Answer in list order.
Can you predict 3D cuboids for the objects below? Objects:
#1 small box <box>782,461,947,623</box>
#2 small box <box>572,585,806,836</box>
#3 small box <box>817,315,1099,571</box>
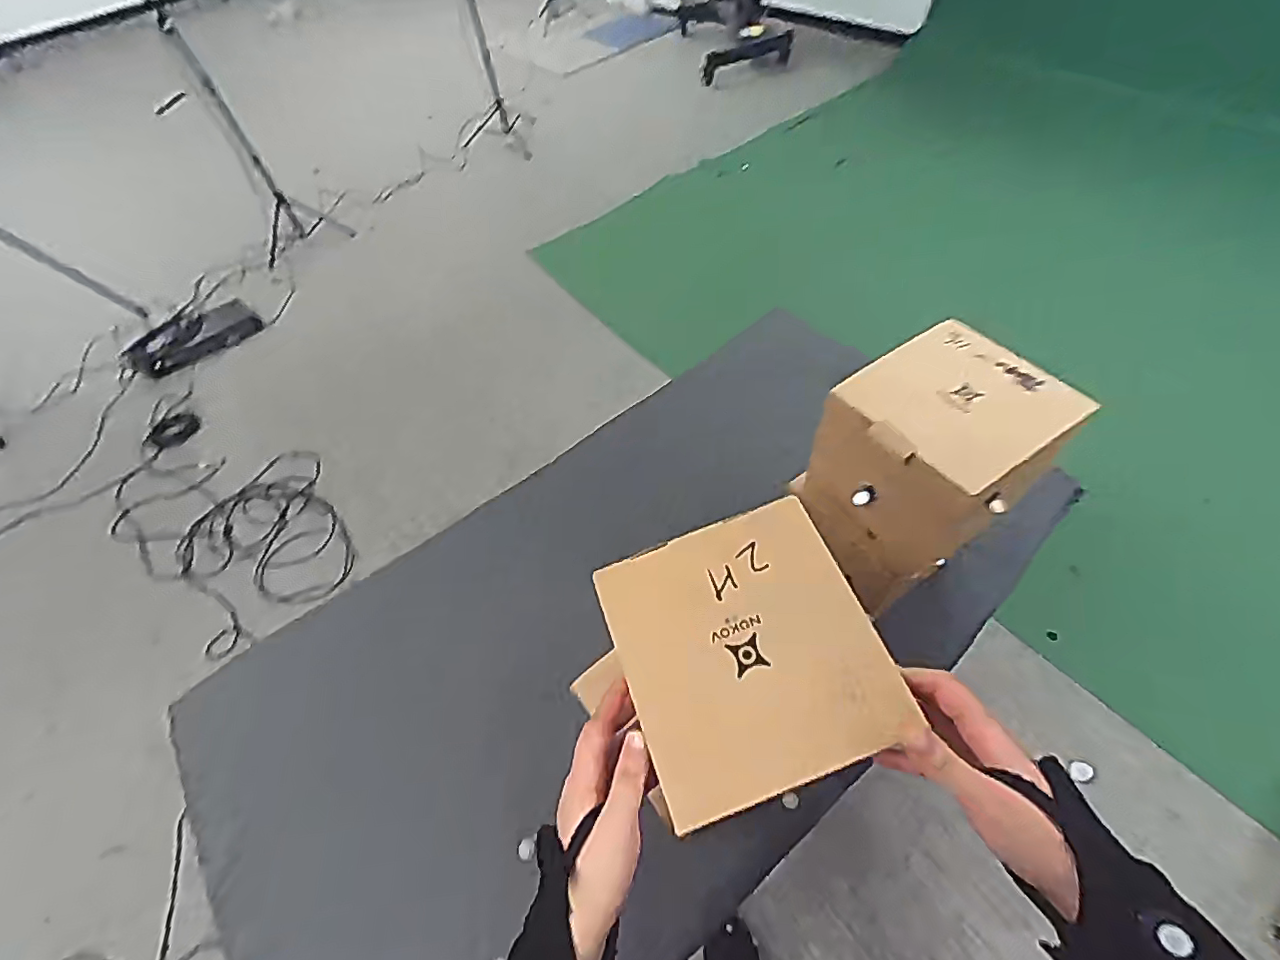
[{"bbox_3d":[0.304,0.057,0.710,0.179,0.176,0.168,-32,58,-16],"label":"small box"},{"bbox_3d":[0.053,0.255,0.597,0.179,0.176,0.168,-36,57,-16],"label":"small box"},{"bbox_3d":[0.308,-0.034,0.571,0.179,0.176,0.168,-30,57,-14],"label":"small box"}]
